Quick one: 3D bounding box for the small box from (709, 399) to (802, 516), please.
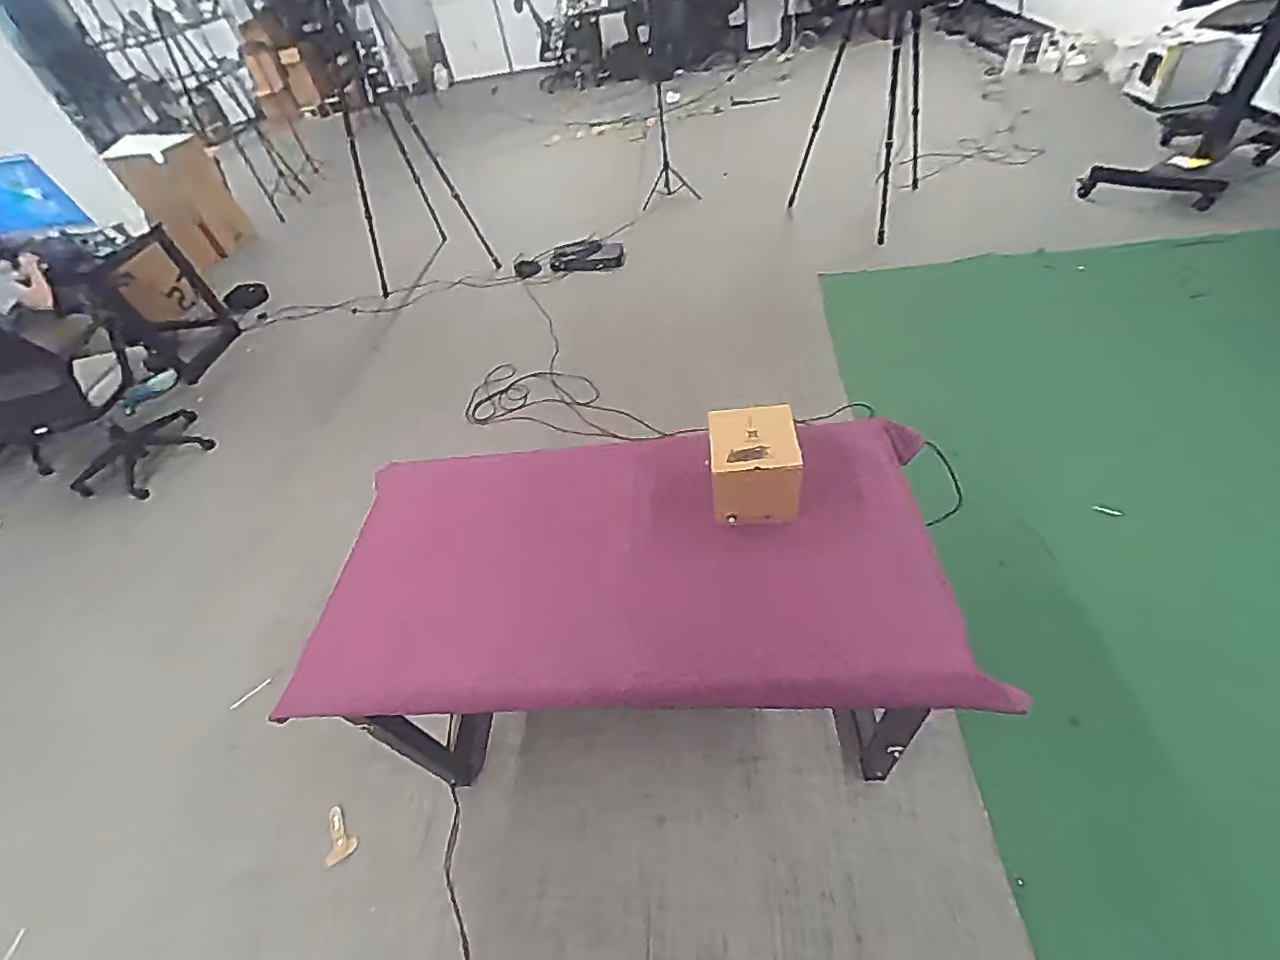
[{"bbox_3d":[0.229,-0.039,1.092,0.168,0.176,0.179,-4,47,9],"label":"small box"}]
